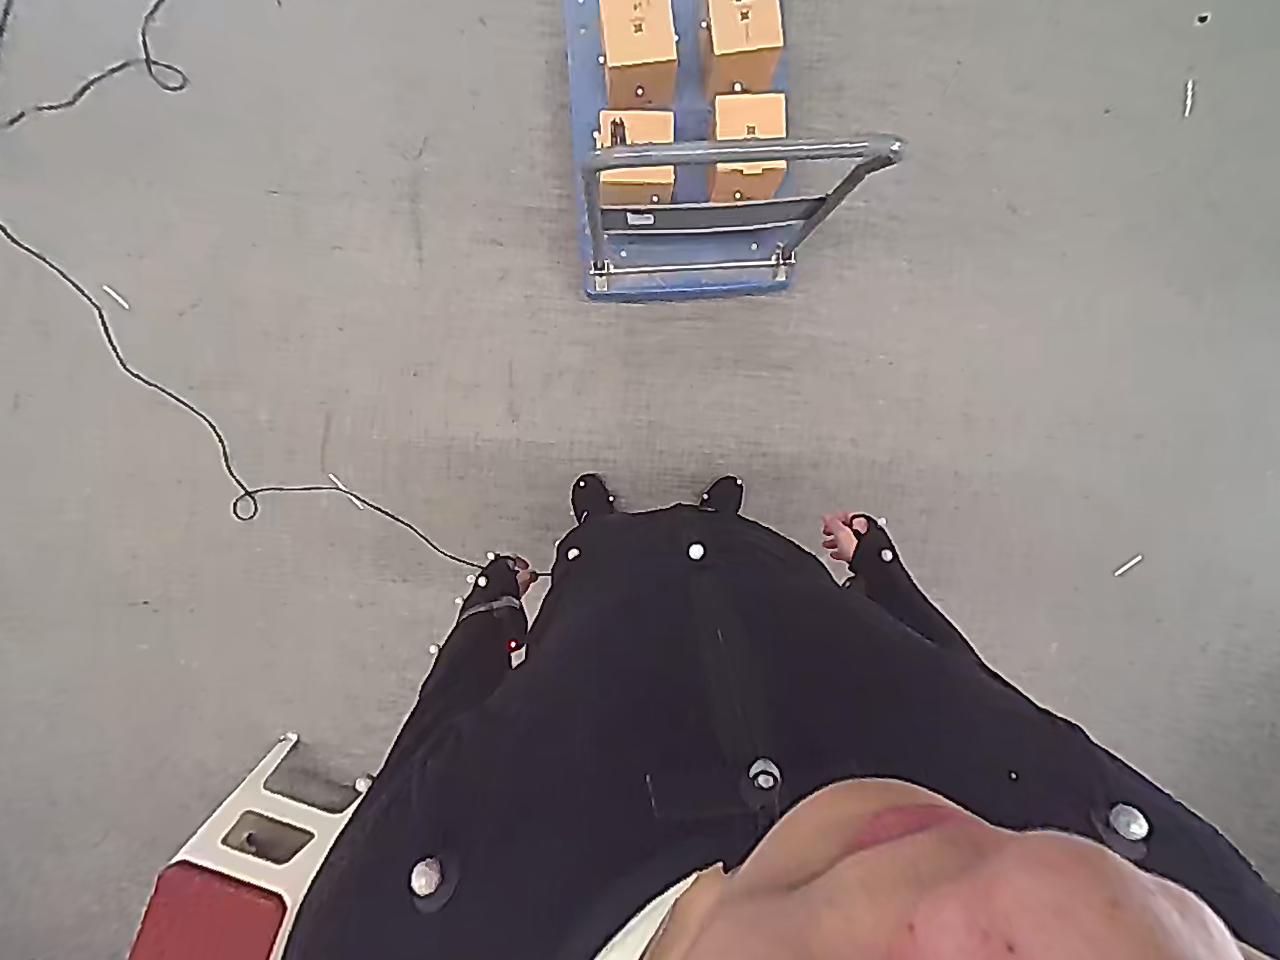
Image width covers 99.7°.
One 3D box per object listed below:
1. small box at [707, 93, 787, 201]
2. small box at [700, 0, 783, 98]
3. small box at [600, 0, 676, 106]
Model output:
[{"bbox_3d":[0.264,-0.832,1.362,0.168,0.176,0.179,-3,93,-1],"label":"small box"},{"bbox_3d":[0.246,-1.102,1.348,0.168,0.176,0.179,-7,94,1],"label":"small box"},{"bbox_3d":[-0.003,-1.068,1.347,0.168,0.176,0.179,-7,92,-1],"label":"small box"}]
